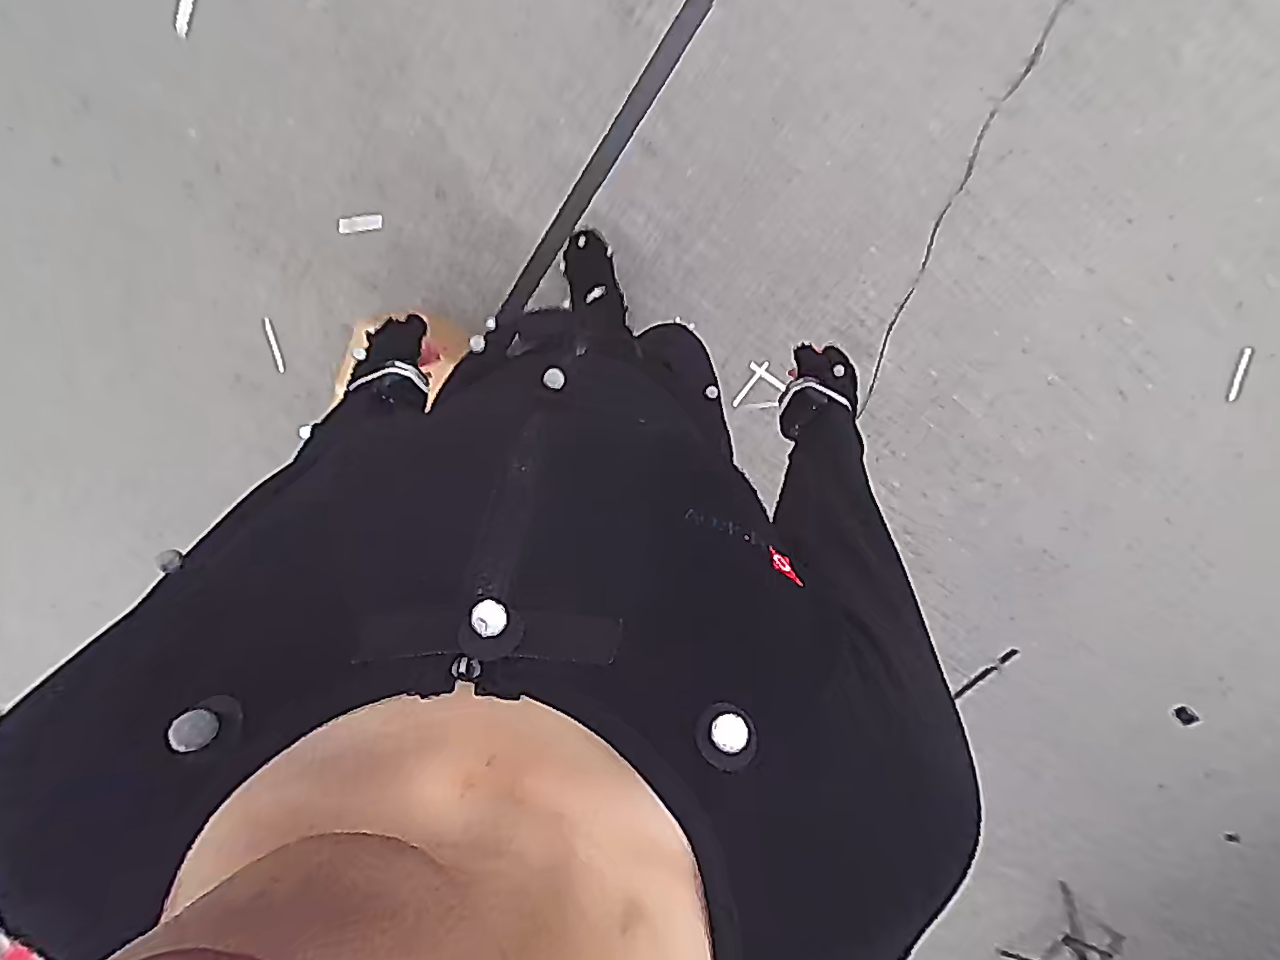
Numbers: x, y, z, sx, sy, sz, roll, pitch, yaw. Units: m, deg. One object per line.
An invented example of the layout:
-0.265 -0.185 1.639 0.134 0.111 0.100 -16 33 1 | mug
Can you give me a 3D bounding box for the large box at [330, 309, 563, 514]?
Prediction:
-0.441 -0.178 1.306 0.408 0.320 0.320 24 111 -10 | large box
